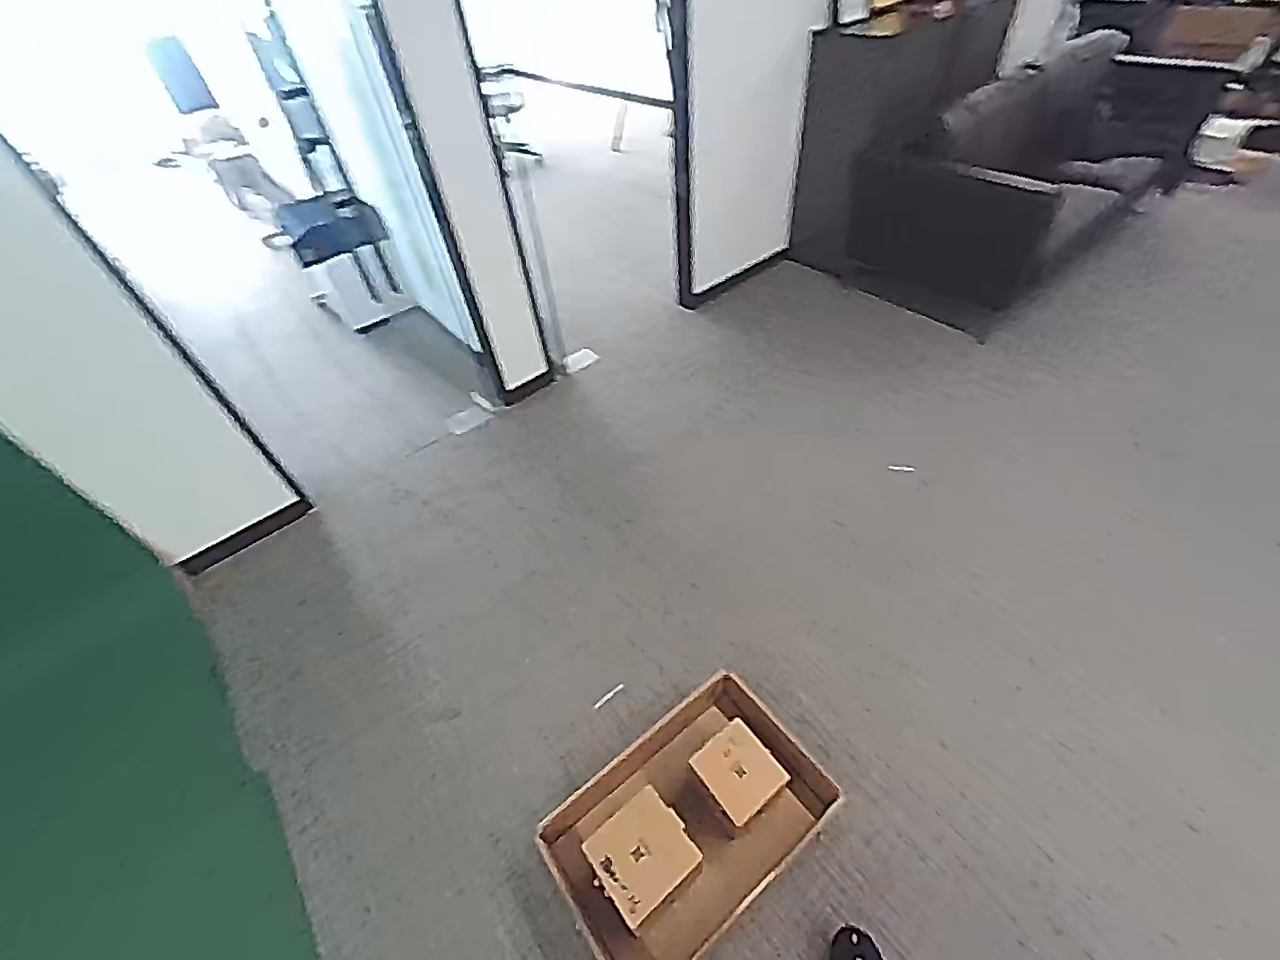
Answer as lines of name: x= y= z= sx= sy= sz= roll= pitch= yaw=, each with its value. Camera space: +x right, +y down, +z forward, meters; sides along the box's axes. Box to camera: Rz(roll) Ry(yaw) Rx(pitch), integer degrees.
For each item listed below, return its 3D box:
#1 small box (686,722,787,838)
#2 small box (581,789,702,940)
small box: x=0.229 y=0.732 z=1.309 sx=0.168 sy=0.176 sz=0.179 roll=-31 pitch=51 yaw=-21
small box: x=0.004 y=0.766 z=1.078 sx=0.179 sy=0.176 sz=0.168 roll=-31 pitch=51 yaw=-23
